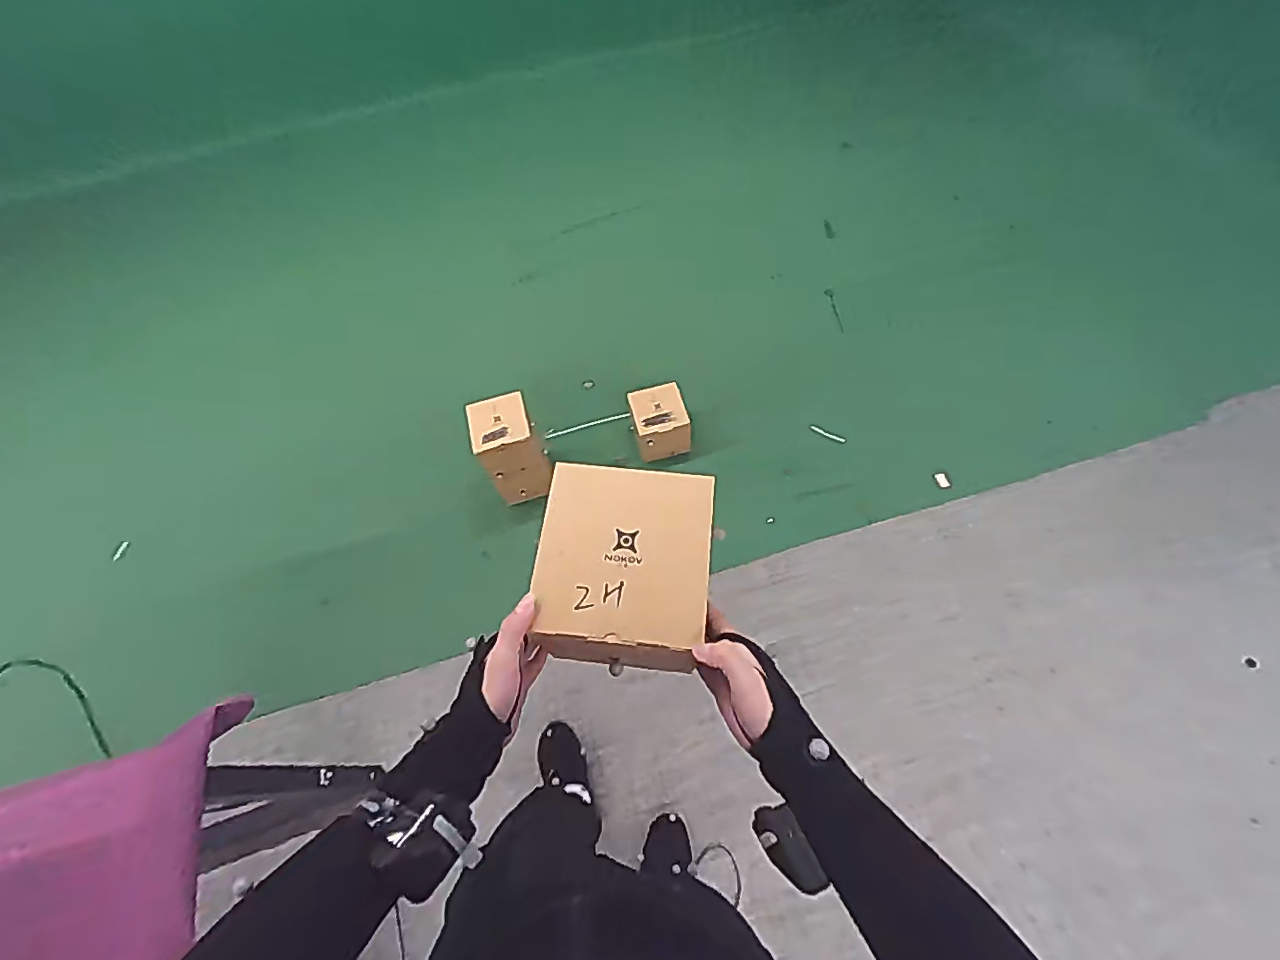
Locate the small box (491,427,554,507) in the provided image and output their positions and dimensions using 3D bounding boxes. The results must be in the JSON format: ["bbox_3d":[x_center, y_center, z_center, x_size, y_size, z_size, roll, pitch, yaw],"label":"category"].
[{"bbox_3d":[-0.388,-0.039,1.749,0.168,0.176,0.179,-16,62,-4],"label":"small box"}]

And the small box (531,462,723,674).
[{"bbox_3d":[-0.007,0.102,0.586,0.168,0.176,0.179,6,65,4],"label":"small box"}]

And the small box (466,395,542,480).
[{"bbox_3d":[-0.400,-0.118,1.606,0.168,0.176,0.179,-16,60,-4],"label":"small box"}]
